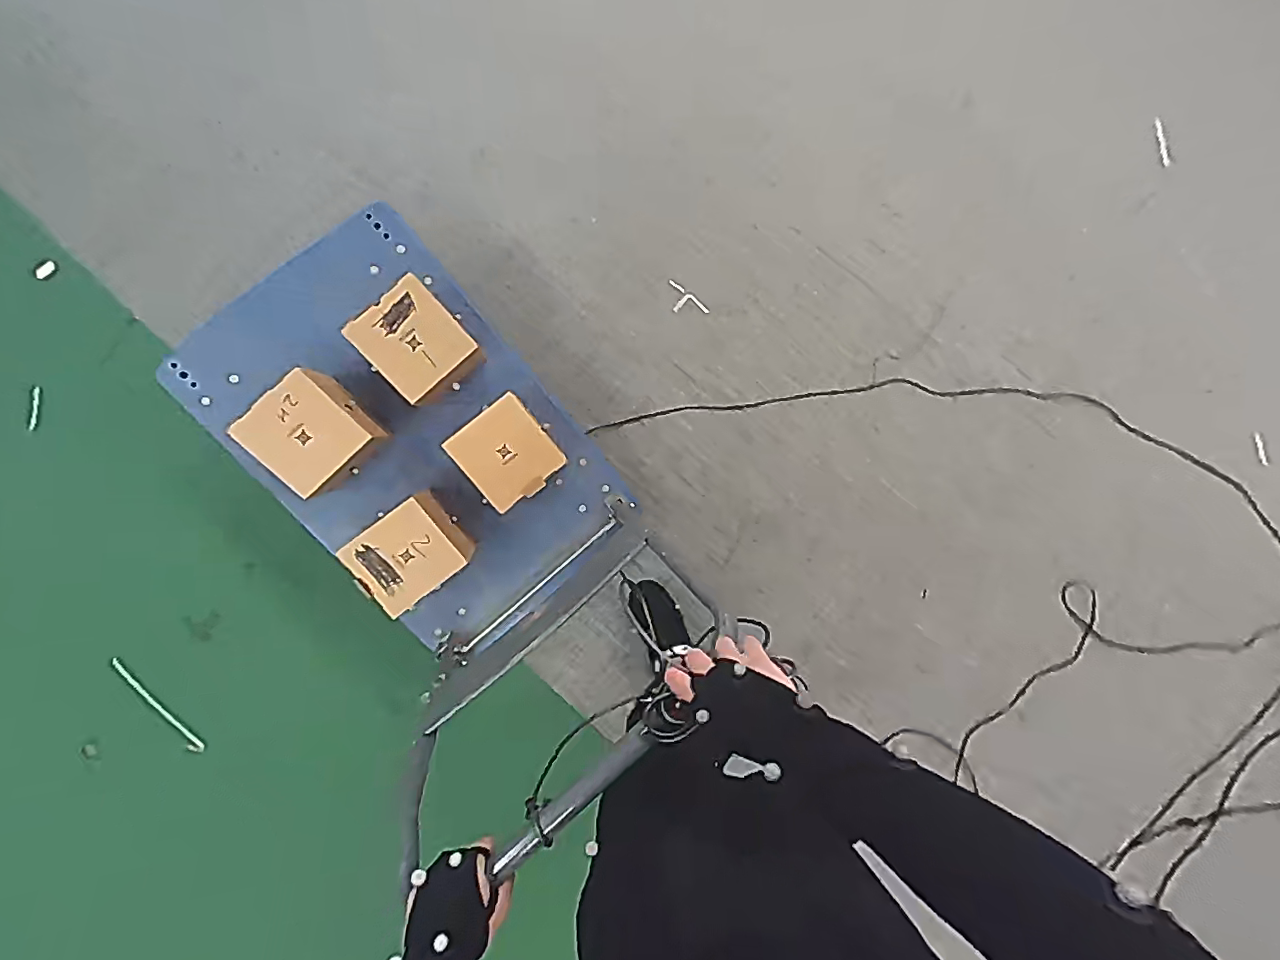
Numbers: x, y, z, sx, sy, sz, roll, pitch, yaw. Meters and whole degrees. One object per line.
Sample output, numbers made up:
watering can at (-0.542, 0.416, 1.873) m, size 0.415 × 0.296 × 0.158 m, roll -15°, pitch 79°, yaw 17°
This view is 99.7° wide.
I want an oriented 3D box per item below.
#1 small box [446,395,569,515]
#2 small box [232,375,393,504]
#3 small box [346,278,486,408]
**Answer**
small box at (-0.268, -0.052, 1.110) m, size 0.168 × 0.176 × 0.179 m, roll -40°, pitch 101°, yaw -5°
small box at (-0.614, -0.080, 1.043) m, size 0.168 × 0.176 × 0.179 m, roll -45°, pitch 100°, yaw -5°
small box at (-0.426, -0.256, 1.062) m, size 0.168 × 0.176 × 0.179 m, roll -43°, pitch 101°, yaw -4°
